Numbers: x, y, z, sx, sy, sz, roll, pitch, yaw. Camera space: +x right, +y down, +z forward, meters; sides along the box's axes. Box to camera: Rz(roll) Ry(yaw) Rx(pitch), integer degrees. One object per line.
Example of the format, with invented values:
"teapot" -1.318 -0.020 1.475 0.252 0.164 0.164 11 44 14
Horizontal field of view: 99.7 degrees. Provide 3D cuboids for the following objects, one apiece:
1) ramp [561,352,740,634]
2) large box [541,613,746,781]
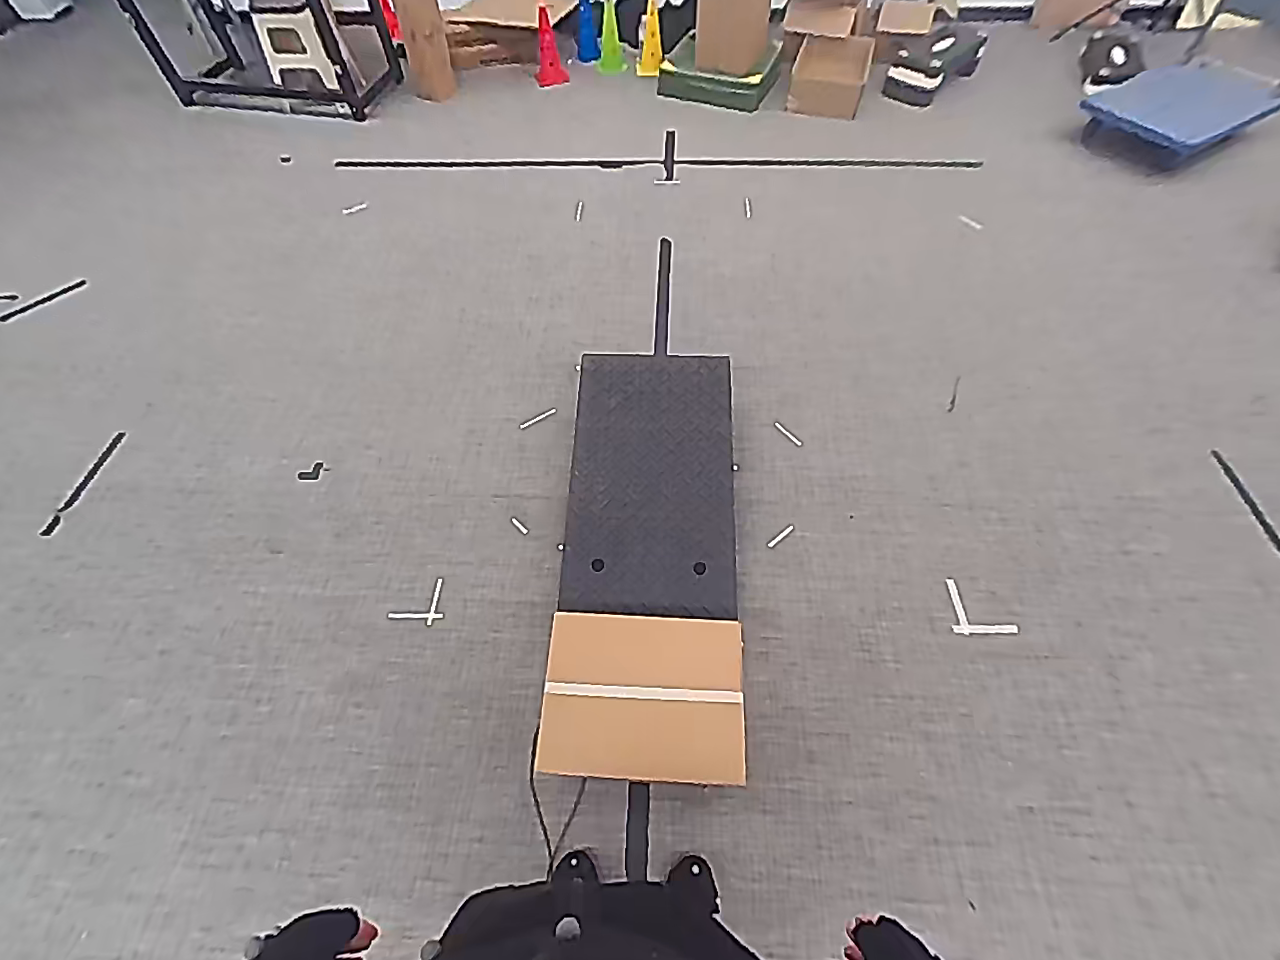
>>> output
"ramp" 0.041 0.043 1.609 0.509 0.206 0.991 1 58 0
"large box" 0.016 0.501 1.237 0.408 0.320 0.320 2 61 2
